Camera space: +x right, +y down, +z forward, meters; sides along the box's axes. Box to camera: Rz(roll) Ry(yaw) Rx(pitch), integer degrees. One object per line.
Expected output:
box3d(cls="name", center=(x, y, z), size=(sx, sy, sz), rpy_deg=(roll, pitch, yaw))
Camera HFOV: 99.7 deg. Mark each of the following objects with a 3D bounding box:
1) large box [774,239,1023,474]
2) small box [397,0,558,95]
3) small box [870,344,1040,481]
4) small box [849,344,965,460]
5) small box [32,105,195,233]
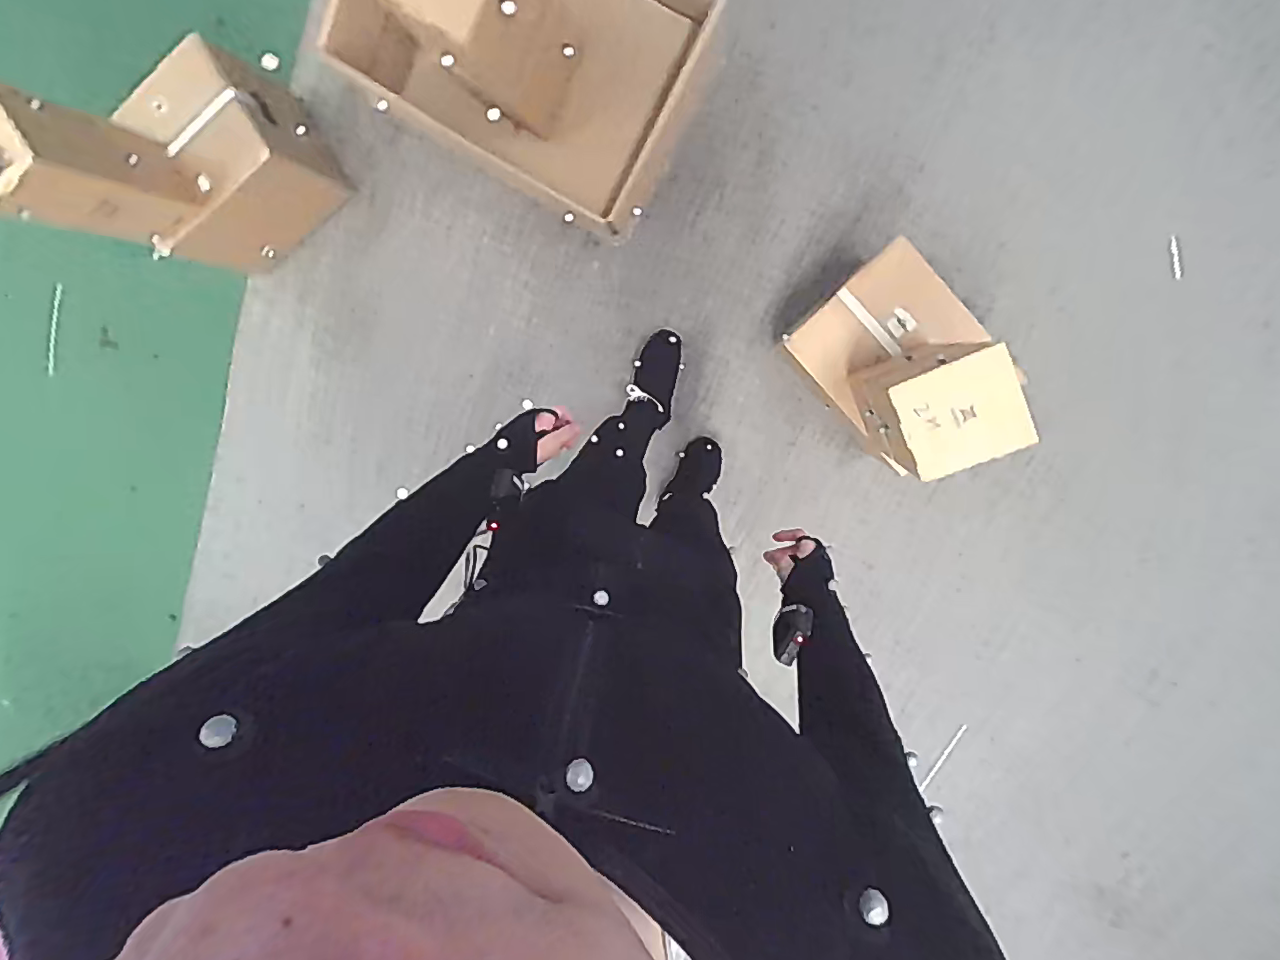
box3d(cls="large box", center=(0.576, -0.281, 1.287), size=(0.320, 0.320, 0.408), rpy_deg=(-42, 92, 14))
box3d(cls="small box", center=(-0.238, -0.722, 0.788), size=(0.168, 0.176, 0.179), rpy_deg=(33, 106, 2))
box3d(cls="small box", center=(0.514, -0.119, 0.907), size=(0.179, 0.176, 0.168), rpy_deg=(-22, 98, 15))
box3d(cls="small box", center=(0.539, -0.159, 1.066), size=(0.179, 0.176, 0.168), rpy_deg=(-21, 98, 14))
box3d(cls="small box", center=(-1.166, -0.680, 1.213), size=(0.168, 0.176, 0.179), rpy_deg=(-26, 97, 12))
